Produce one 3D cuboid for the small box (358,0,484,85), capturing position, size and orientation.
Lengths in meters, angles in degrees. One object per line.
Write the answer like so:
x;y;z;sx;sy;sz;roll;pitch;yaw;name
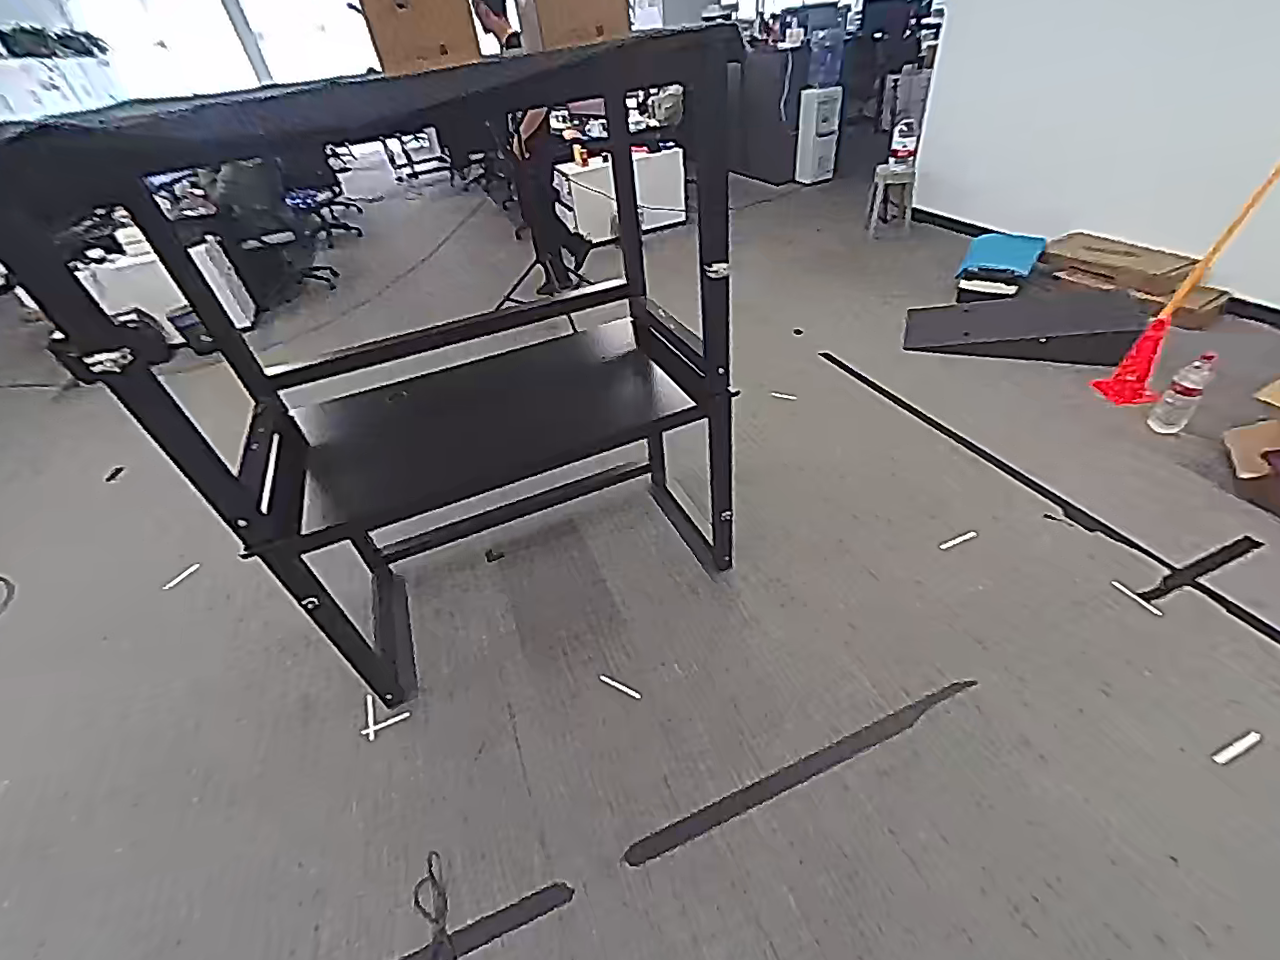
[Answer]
-0.371;-0.775;0.902;0.168;0.176;0.179;-18;40;-11;small box
